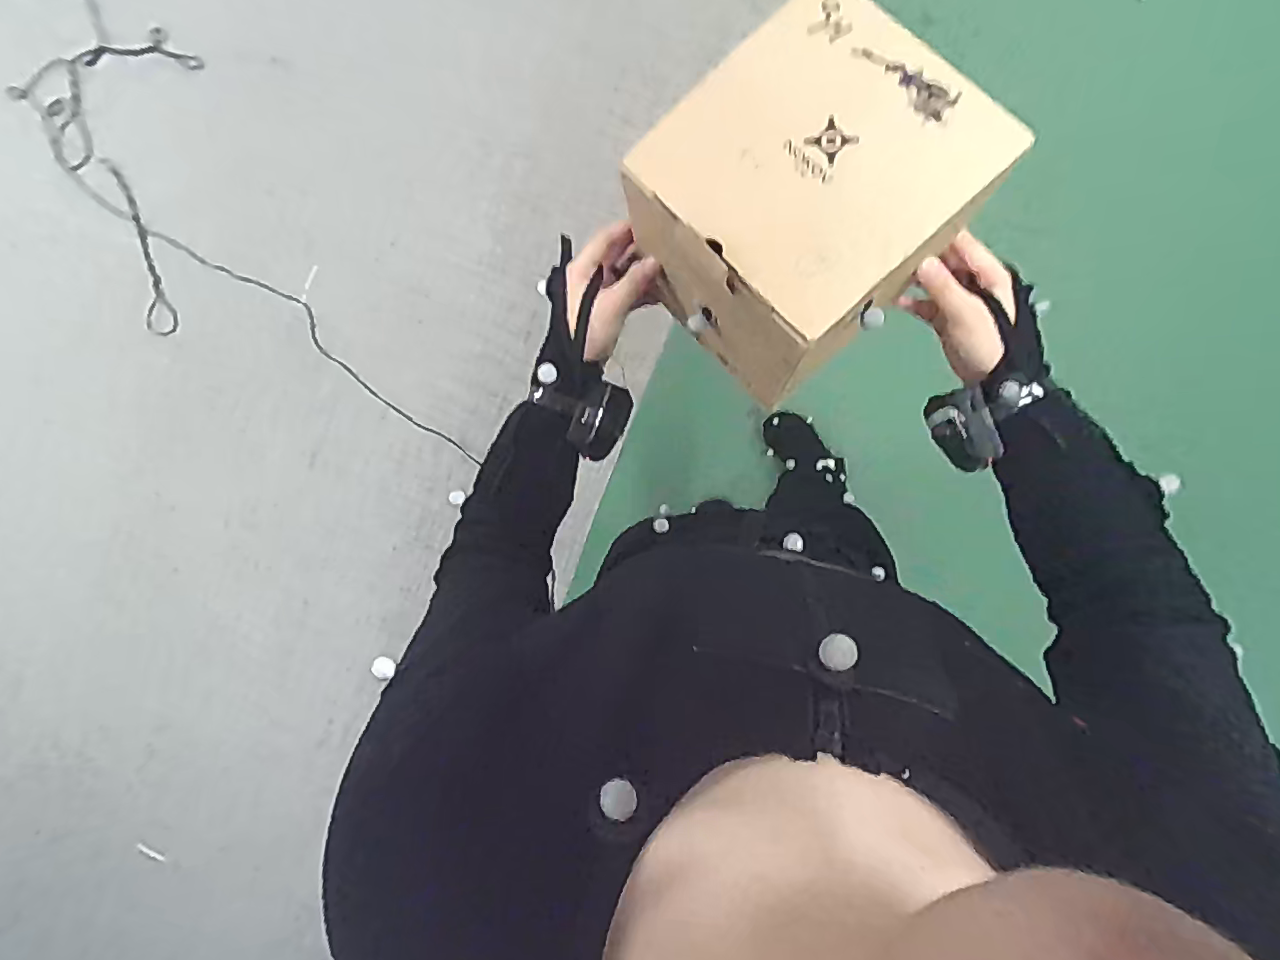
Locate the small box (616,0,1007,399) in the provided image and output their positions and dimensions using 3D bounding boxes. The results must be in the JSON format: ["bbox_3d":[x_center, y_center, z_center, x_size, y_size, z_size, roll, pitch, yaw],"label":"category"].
[{"bbox_3d":[0.110,-0.187,0.407,0.179,0.176,0.168,-43,81,1],"label":"small box"}]
